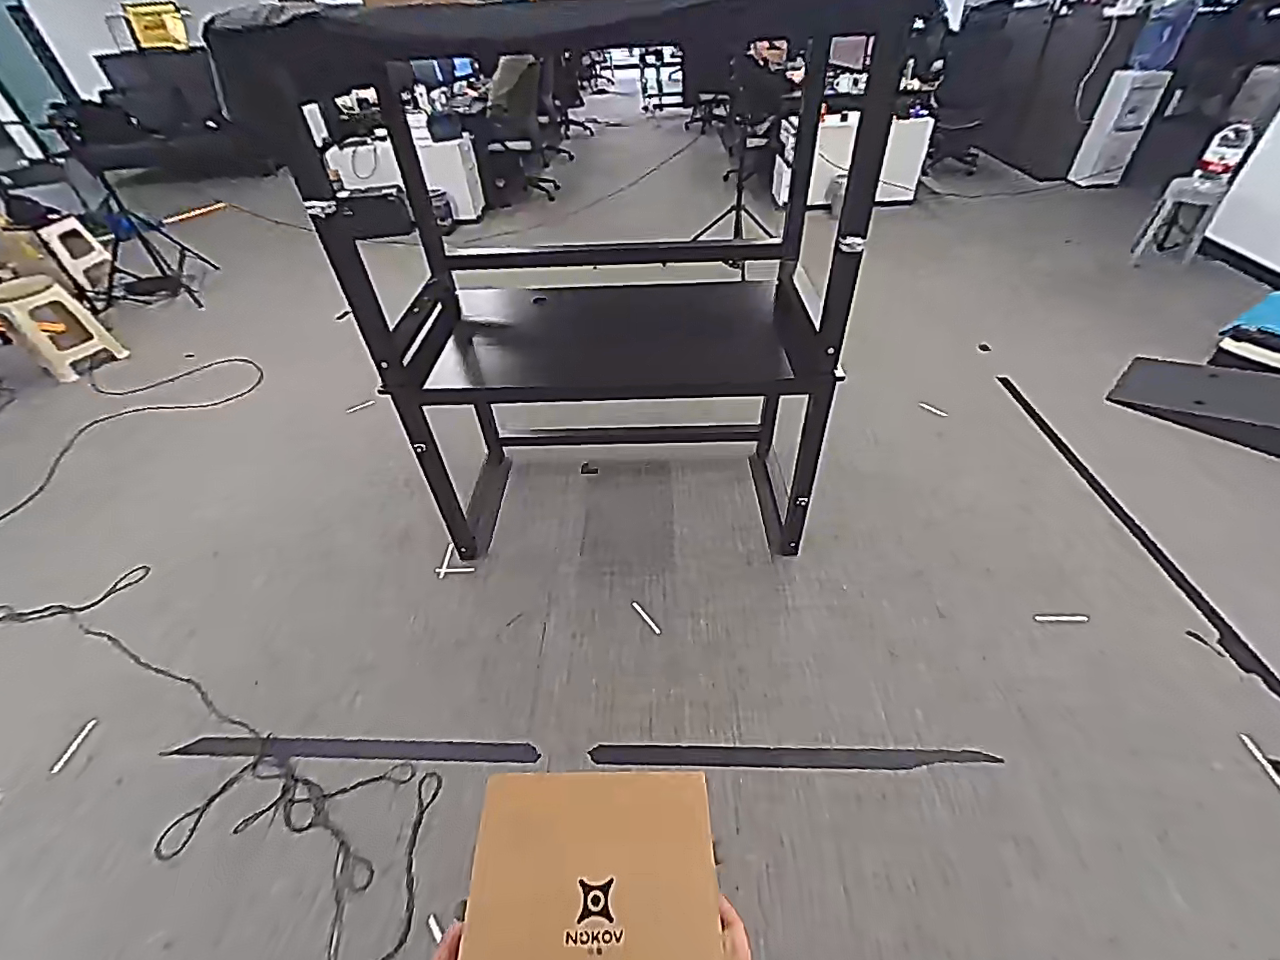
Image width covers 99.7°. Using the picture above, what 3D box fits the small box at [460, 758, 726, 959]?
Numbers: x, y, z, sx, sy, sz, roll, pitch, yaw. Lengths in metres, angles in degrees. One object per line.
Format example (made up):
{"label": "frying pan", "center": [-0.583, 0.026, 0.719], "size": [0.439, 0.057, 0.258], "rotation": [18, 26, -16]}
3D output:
{"label": "small box", "center": [-0.032, 0.332, 0.404], "size": [0.168, 0.176, 0.179], "rotation": [1, 43, -3]}
